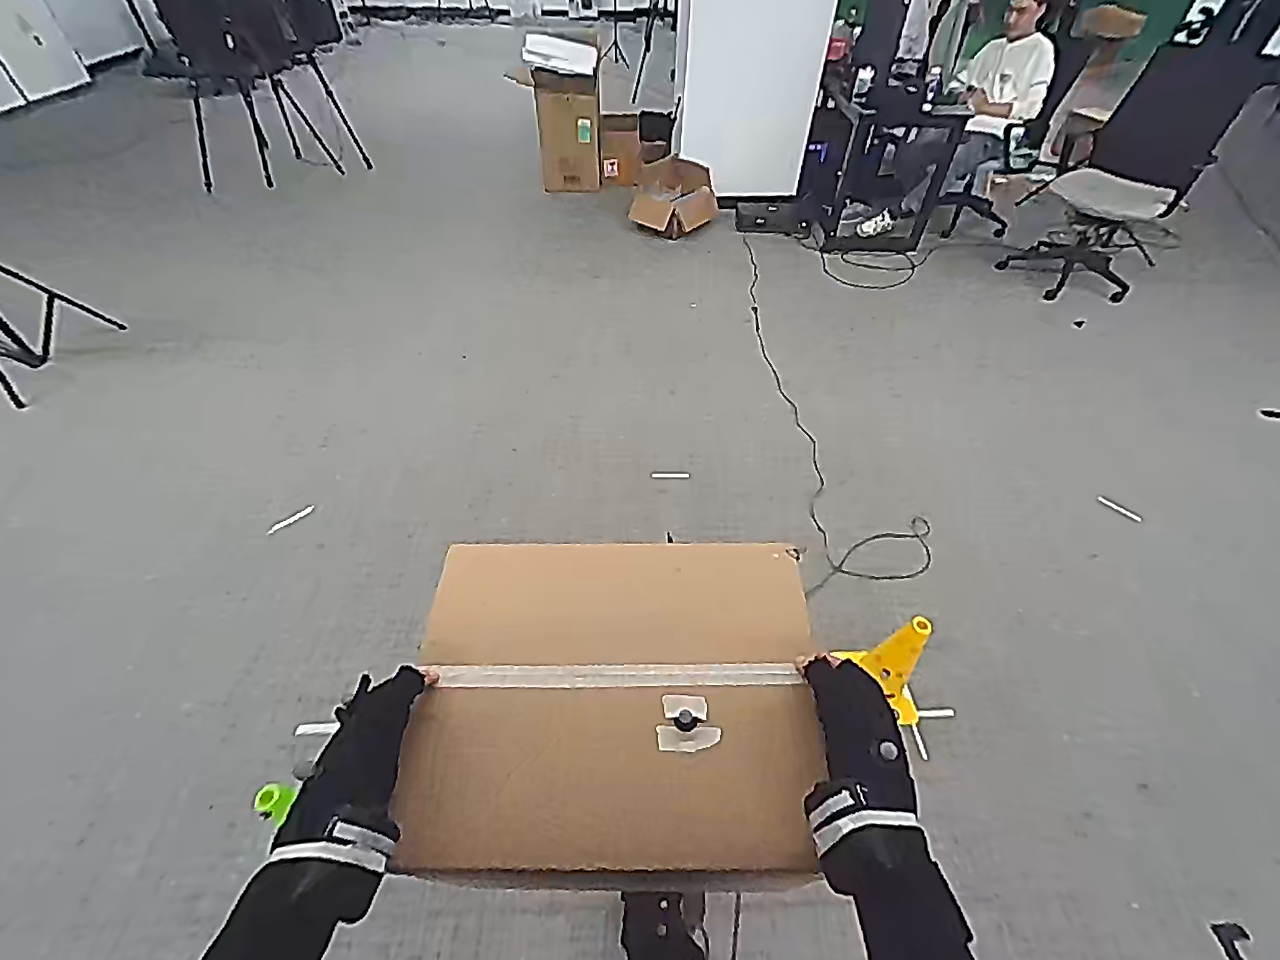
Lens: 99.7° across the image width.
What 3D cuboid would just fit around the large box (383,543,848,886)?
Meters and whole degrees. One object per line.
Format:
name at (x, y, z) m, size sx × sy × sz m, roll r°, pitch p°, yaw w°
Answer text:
large box at (-0.022, 0.291, 0.662) m, size 0.408 × 0.320 × 0.320 m, roll 0°, pitch 50°, yaw 1°

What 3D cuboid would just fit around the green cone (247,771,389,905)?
green cone at (-0.678, 0.689, 1.105) m, size 0.202 × 0.368 × 0.200 m, roll -30°, pitch 54°, yaw -24°
